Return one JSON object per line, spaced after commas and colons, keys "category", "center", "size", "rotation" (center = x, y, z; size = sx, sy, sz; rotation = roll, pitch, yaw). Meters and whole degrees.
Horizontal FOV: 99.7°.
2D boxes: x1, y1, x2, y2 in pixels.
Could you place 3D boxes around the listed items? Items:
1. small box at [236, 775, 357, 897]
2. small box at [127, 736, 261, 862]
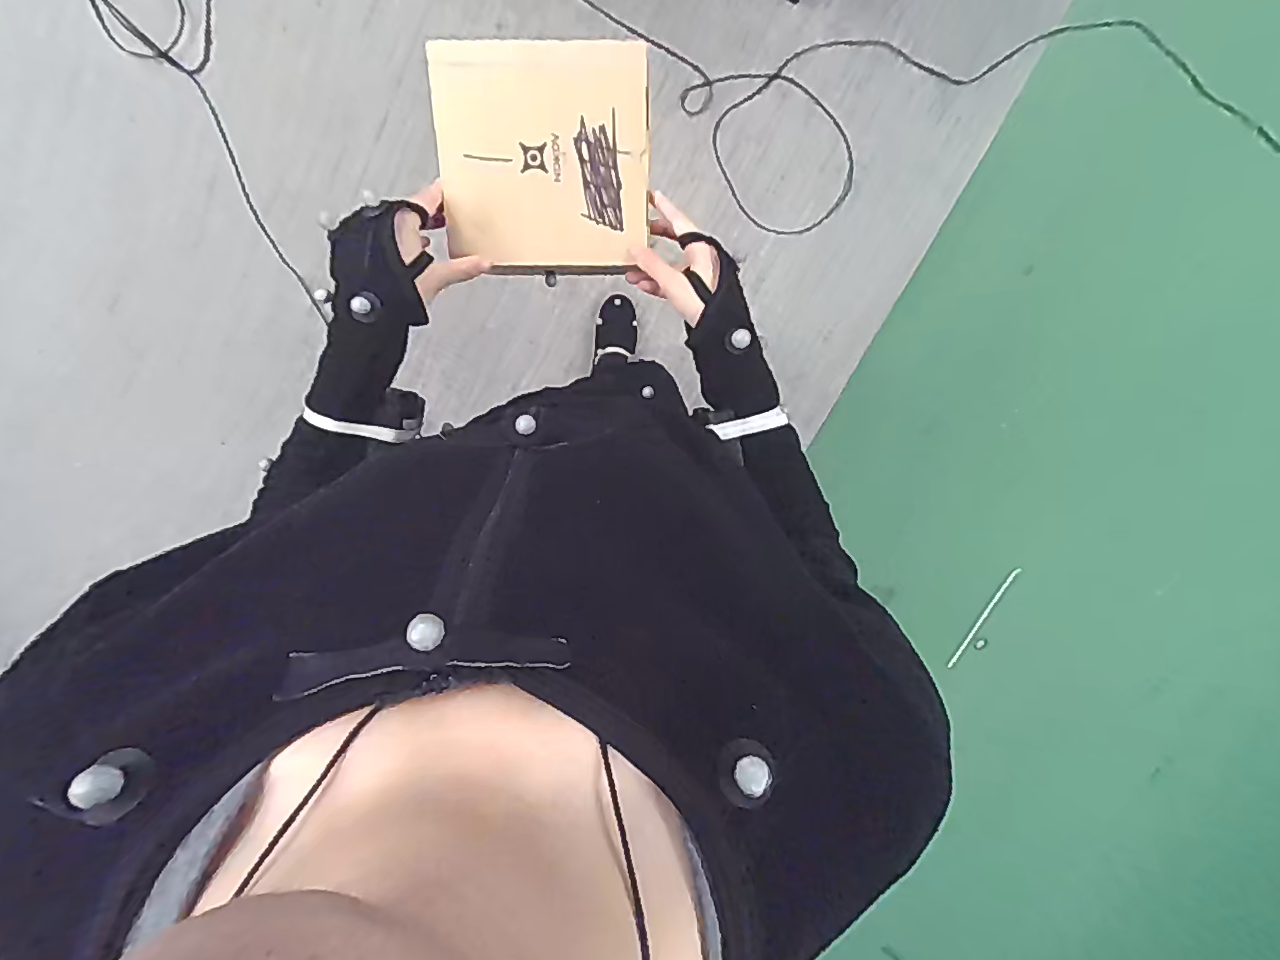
{"category": "small box", "center": [-0.855, 0.888, 1.364], "size": [0.179, 0.176, 0.168], "rotation": [27, 100, -8]}
{"category": "small box", "center": [-1.078, 0.771, 1.324], "size": [0.168, 0.176, 0.179], "rotation": [29, 99, -9]}
